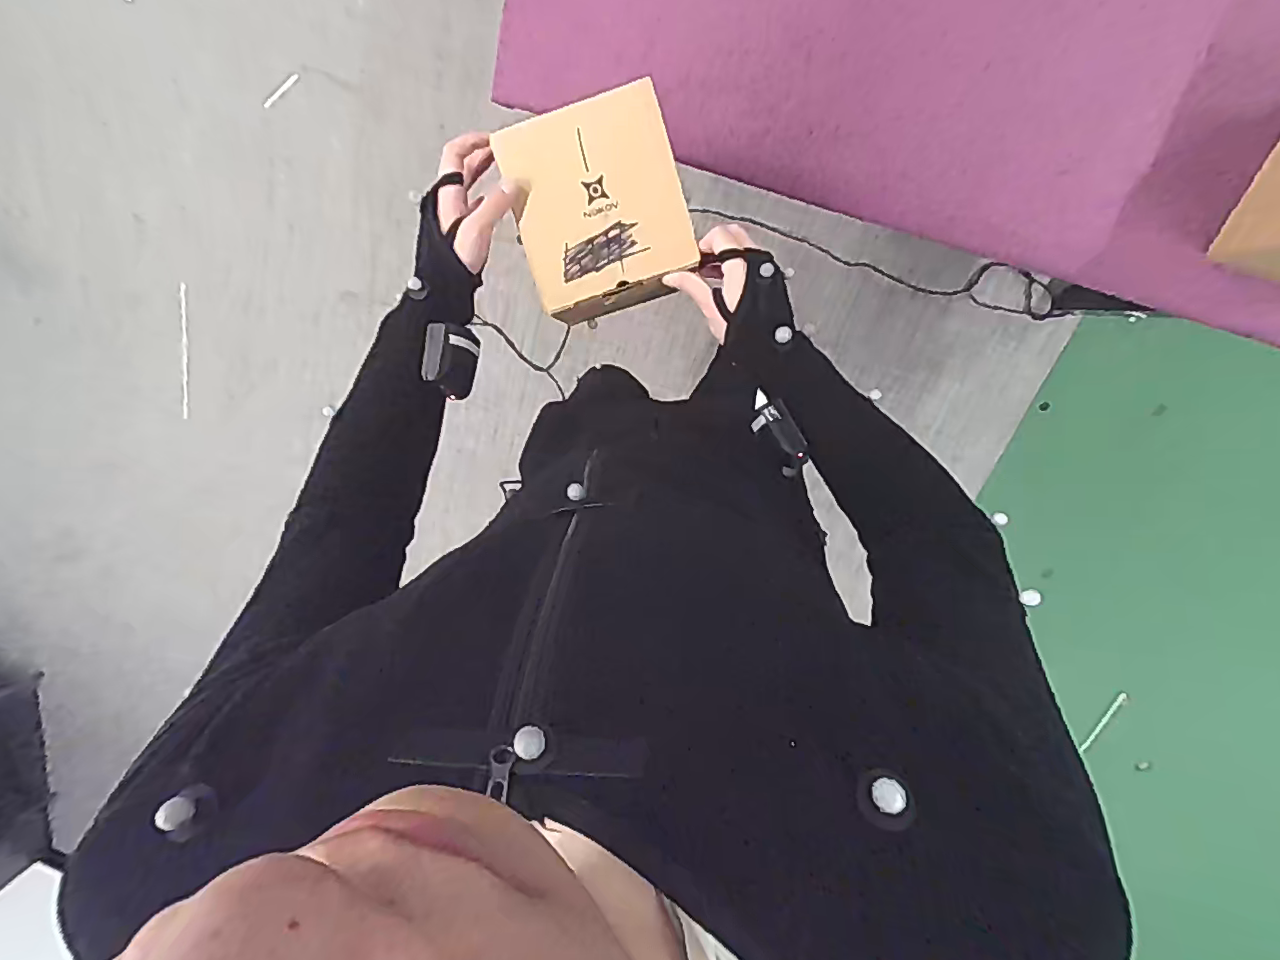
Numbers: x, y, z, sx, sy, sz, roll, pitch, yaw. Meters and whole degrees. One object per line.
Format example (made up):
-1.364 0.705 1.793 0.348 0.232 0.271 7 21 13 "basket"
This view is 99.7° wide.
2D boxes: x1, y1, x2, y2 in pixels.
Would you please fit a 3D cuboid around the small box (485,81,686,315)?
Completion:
-0.048 -0.295 0.615 0.168 0.176 0.179 -16 101 6 "small box"

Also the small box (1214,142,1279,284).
0.769 -0.294 0.548 0.168 0.176 0.179 21 112 6 "small box"
